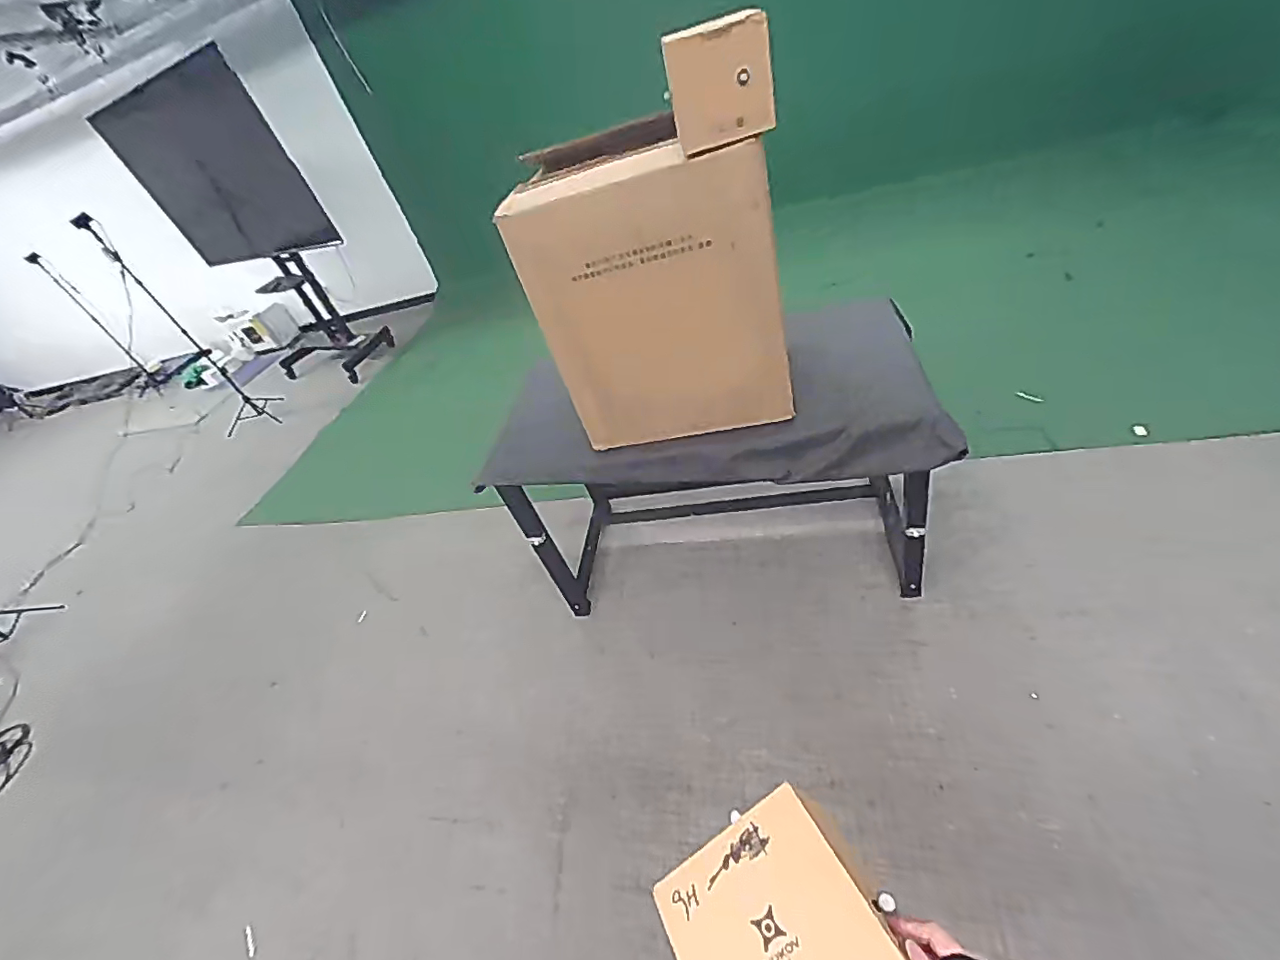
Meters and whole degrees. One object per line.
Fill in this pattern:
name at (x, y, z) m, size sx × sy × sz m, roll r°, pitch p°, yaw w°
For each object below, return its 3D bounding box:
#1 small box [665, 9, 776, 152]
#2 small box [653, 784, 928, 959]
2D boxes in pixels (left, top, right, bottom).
small box at (0.143, -0.711, 0.971) m, size 0.168 × 0.176 × 0.179 m, roll -11°, pitch 39°, yaw 9°
small box at (0.146, 0.423, 0.498) m, size 0.168 × 0.176 × 0.179 m, roll -38°, pitch 42°, yaw 0°
